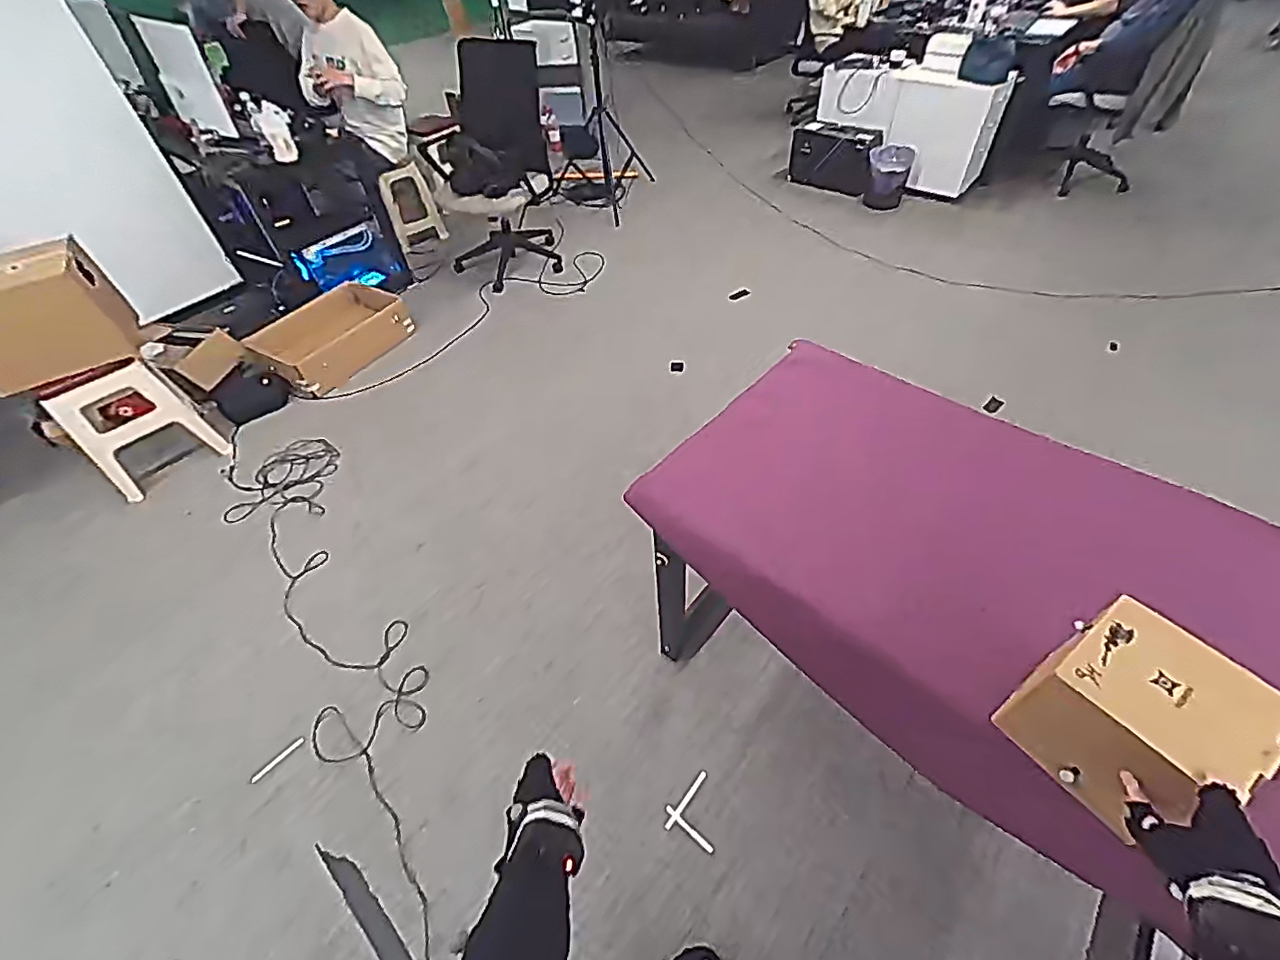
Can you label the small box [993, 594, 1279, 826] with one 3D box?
[{"bbox_3d":[0.577,0.278,0.645,0.168,0.176,0.179,-30,53,-21],"label":"small box"}]
